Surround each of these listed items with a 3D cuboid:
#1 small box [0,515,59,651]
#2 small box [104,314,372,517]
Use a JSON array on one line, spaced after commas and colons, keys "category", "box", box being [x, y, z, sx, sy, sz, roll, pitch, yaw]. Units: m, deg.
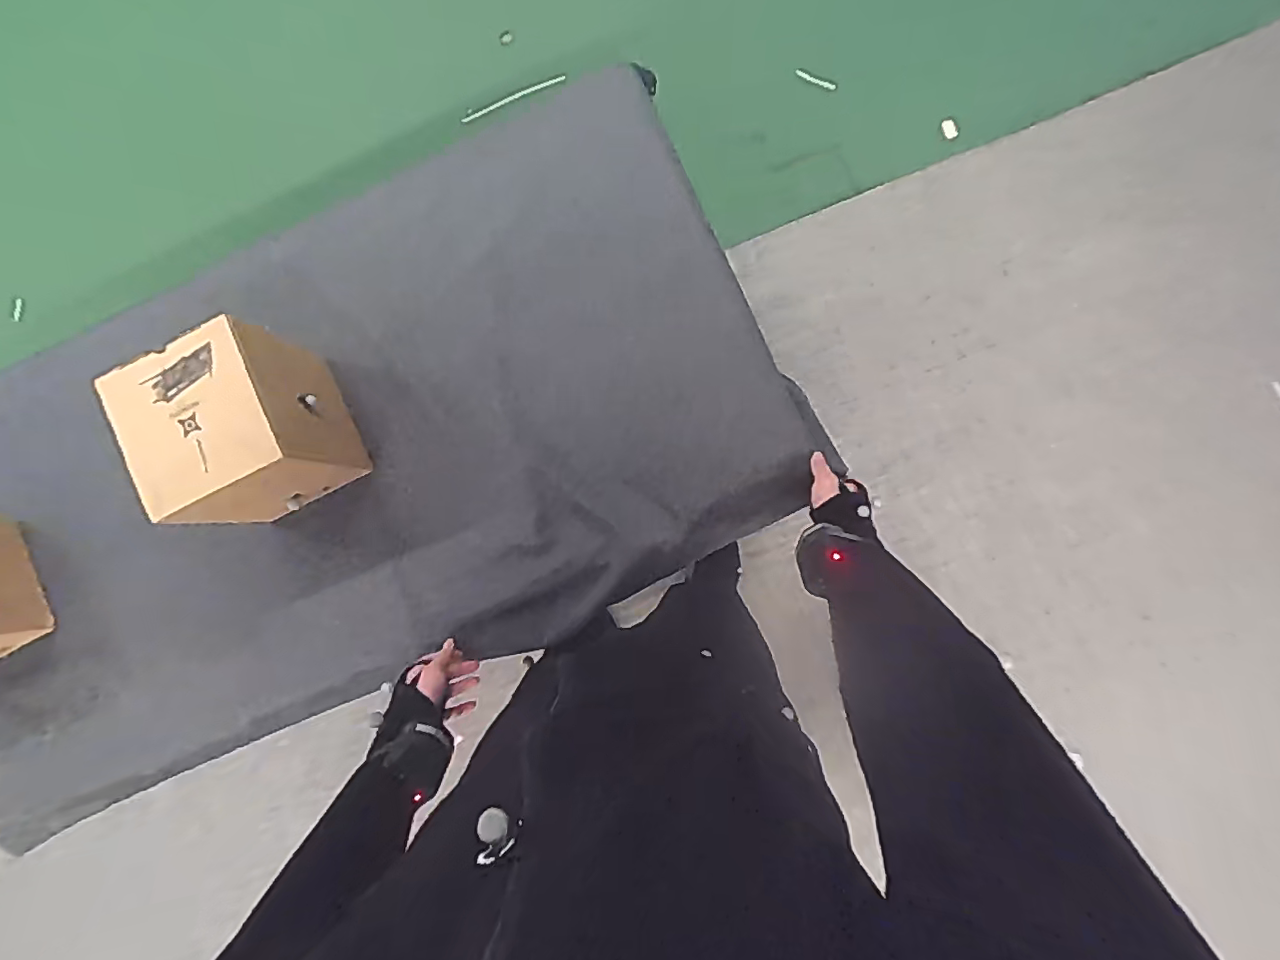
[{"category": "small box", "box": [-0.917, 0.154, 0.687, 0.168, 0.176, 0.179, -28, 85, 3]}, {"category": "small box", "box": [-0.469, -0.064, 0.657, 0.168, 0.176, 0.179, -26, 85, 4]}]
